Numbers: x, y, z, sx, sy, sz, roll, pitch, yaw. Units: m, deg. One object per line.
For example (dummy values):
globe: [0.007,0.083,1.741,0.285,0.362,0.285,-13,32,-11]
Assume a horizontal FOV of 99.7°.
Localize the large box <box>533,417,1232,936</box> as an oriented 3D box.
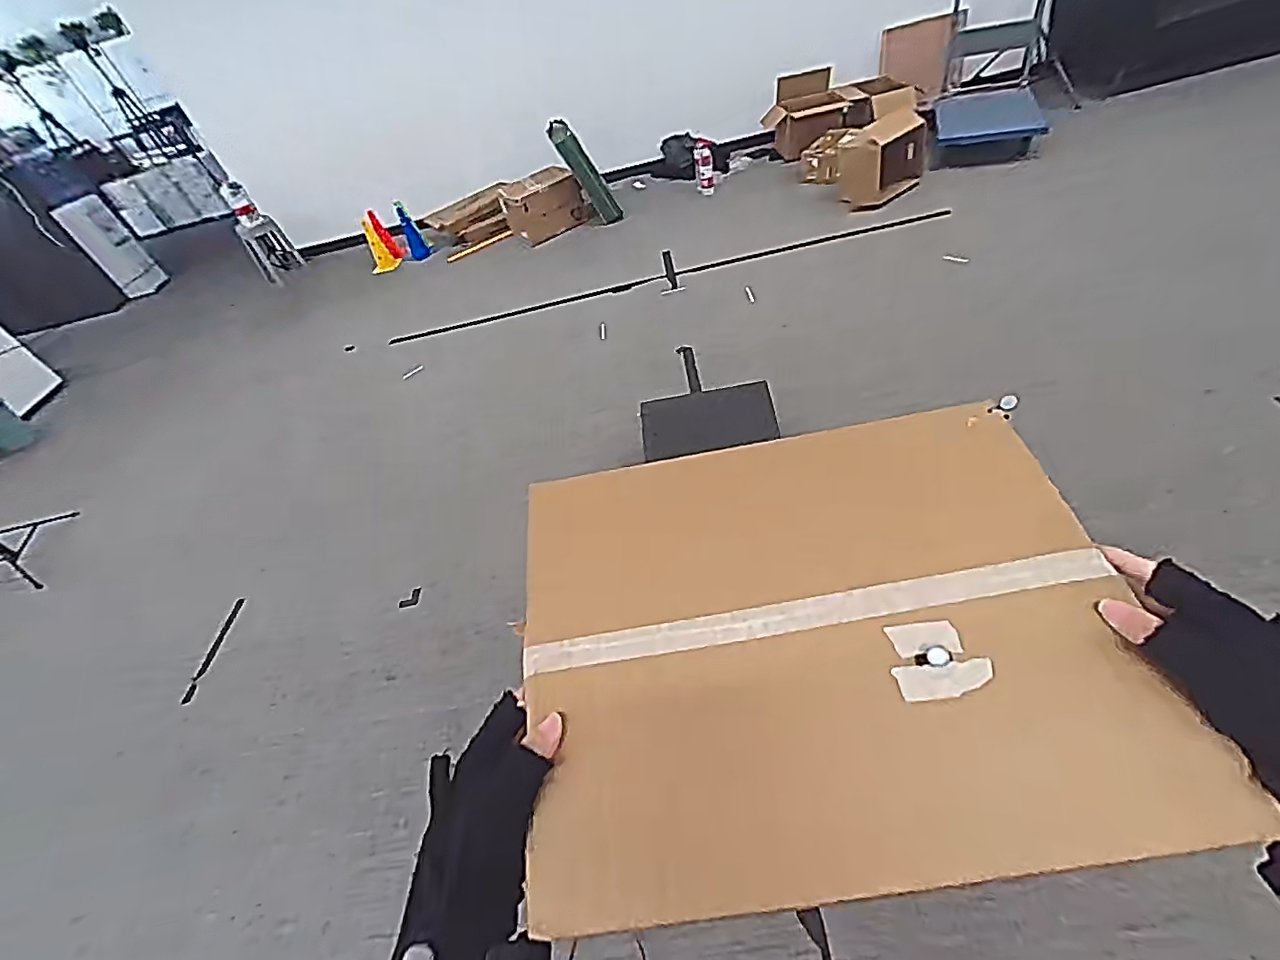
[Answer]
large box: [0.137,0.189,0.513,0.408,0.320,0.320,-11,54,3]
